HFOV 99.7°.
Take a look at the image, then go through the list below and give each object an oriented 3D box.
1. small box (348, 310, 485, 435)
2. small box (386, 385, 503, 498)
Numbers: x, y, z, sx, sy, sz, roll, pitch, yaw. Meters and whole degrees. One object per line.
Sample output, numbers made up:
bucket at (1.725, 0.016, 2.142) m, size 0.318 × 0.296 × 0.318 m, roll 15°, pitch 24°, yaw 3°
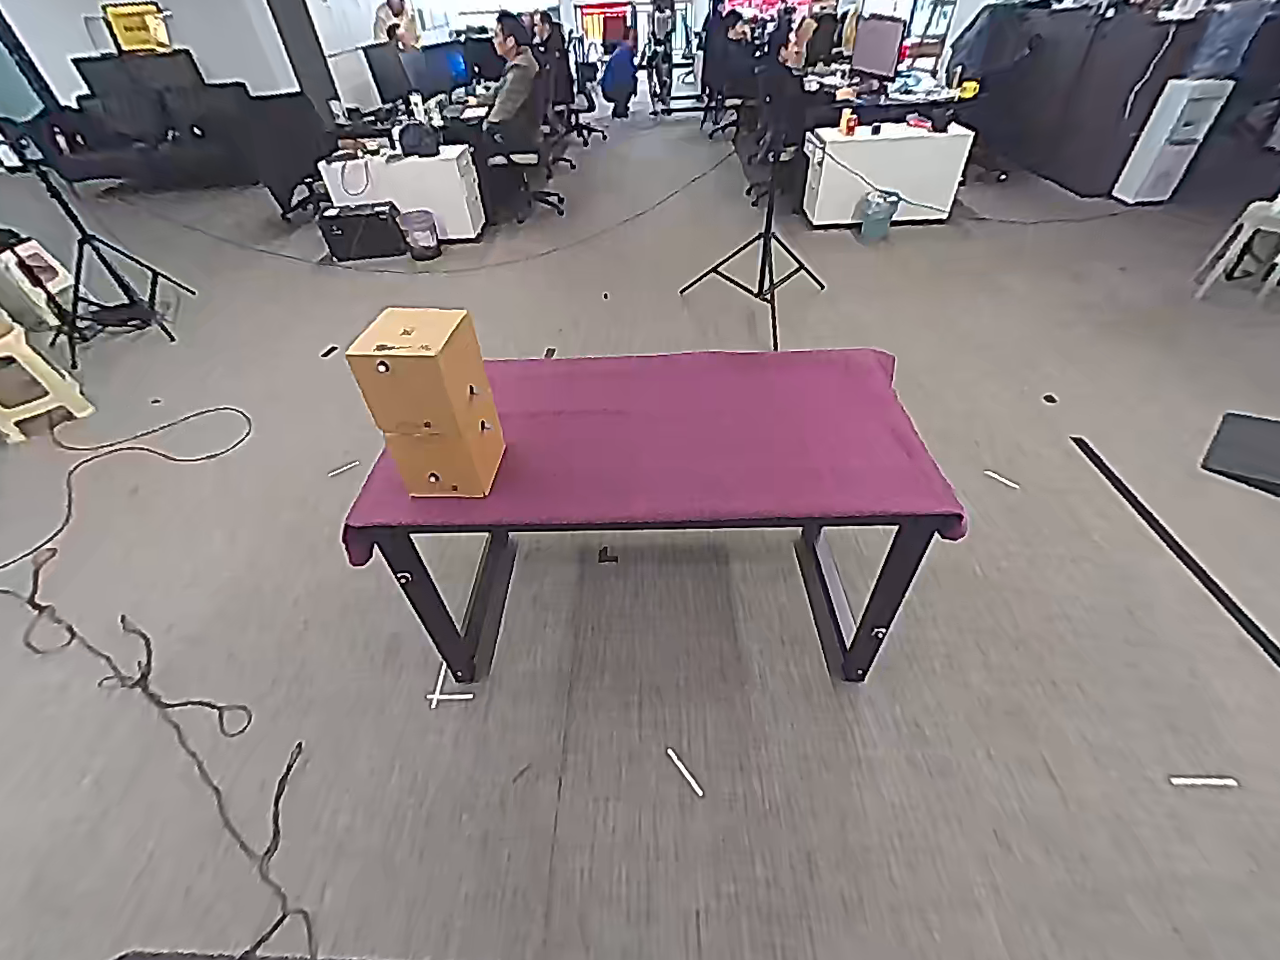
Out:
small box at (-0.406, -0.205, 1.023) m, size 0.168 × 0.176 × 0.179 m, roll 2°, pitch 42°, yaw 5°
small box at (-0.396, -0.083, 1.133) m, size 0.168 × 0.176 × 0.179 m, roll 1°, pitch 43°, yaw 4°
